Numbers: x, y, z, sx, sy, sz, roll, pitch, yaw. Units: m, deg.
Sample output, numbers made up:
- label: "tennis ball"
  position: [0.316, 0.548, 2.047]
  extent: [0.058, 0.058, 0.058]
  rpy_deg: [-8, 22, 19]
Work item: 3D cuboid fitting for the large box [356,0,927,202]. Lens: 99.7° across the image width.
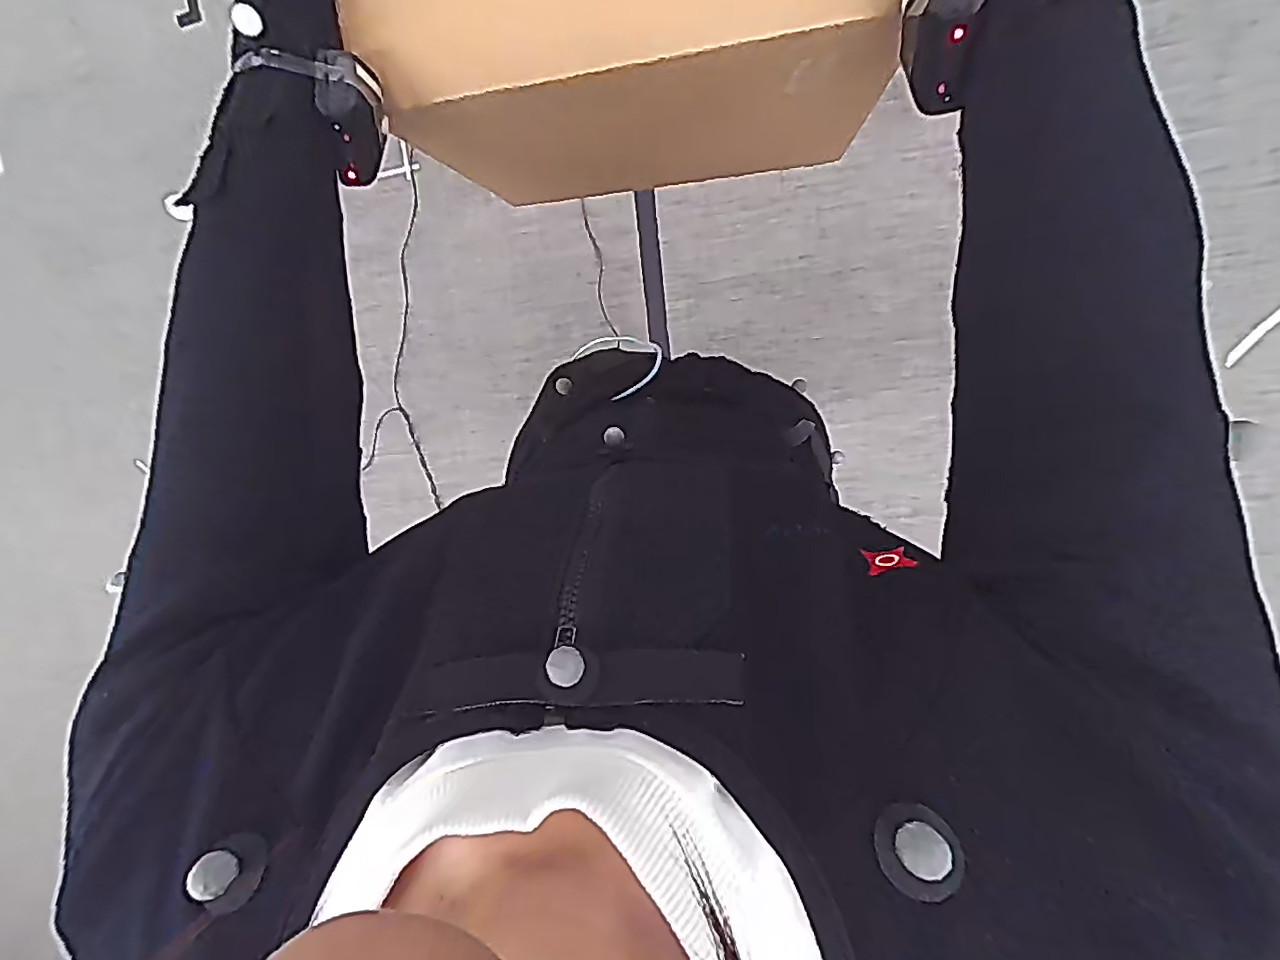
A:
- label: "large box"
  position: [0.000, -0.478, 0.482]
  extent: [0.408, 0.320, 0.320]
  rpy_deg: [-4, 105, 9]
